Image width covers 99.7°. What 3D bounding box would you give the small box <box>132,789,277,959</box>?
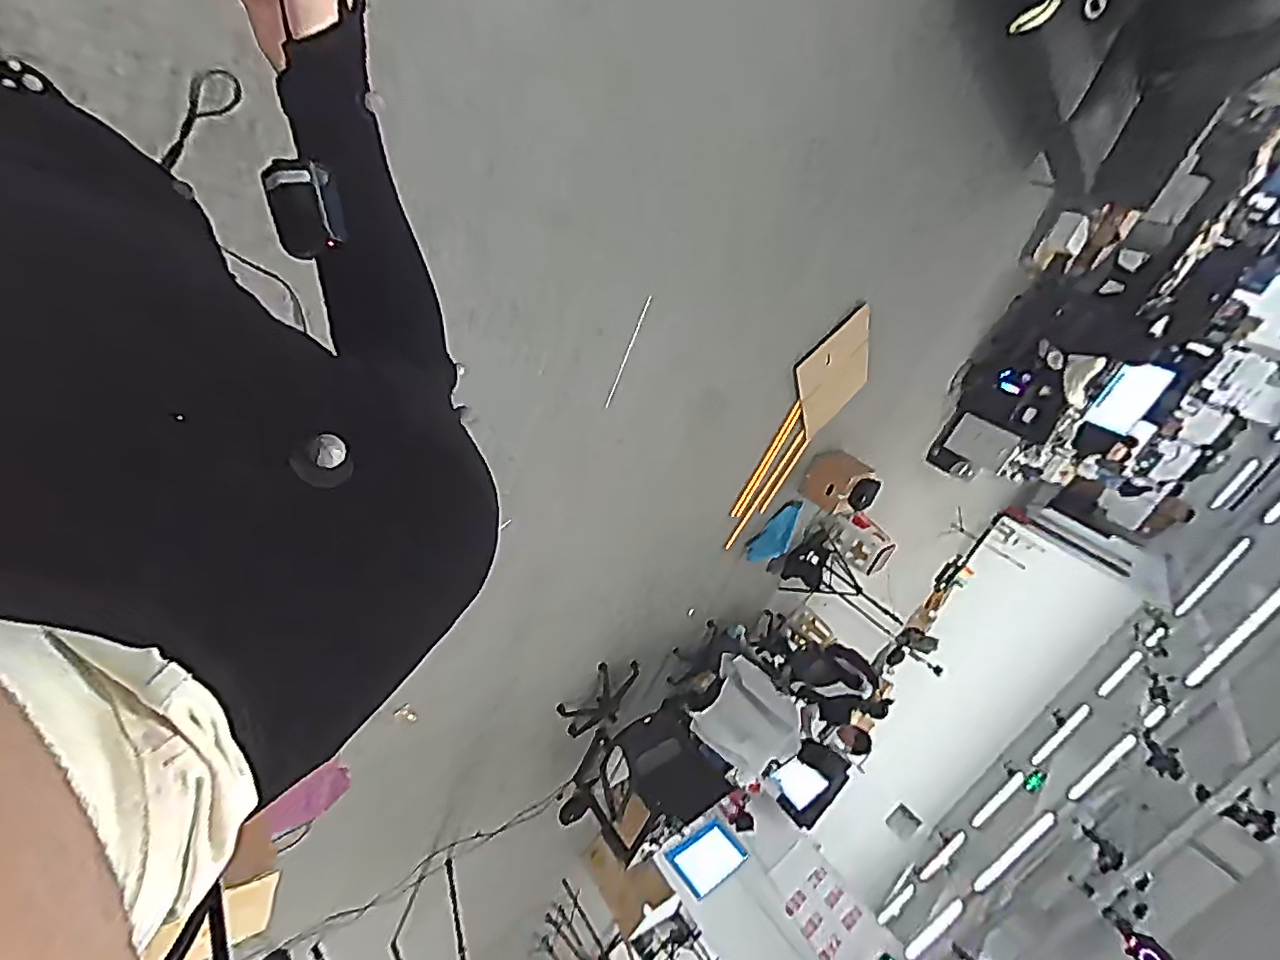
[{"bbox_3d":[-0.715,0.656,0.885,0.168,0.176,0.179,-1,121,-45],"label":"small box"}]

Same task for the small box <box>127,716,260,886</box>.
[{"bbox_3d":[-0.813,0.570,0.982,0.168,0.176,0.179,0,121,-46],"label":"small box"}]
